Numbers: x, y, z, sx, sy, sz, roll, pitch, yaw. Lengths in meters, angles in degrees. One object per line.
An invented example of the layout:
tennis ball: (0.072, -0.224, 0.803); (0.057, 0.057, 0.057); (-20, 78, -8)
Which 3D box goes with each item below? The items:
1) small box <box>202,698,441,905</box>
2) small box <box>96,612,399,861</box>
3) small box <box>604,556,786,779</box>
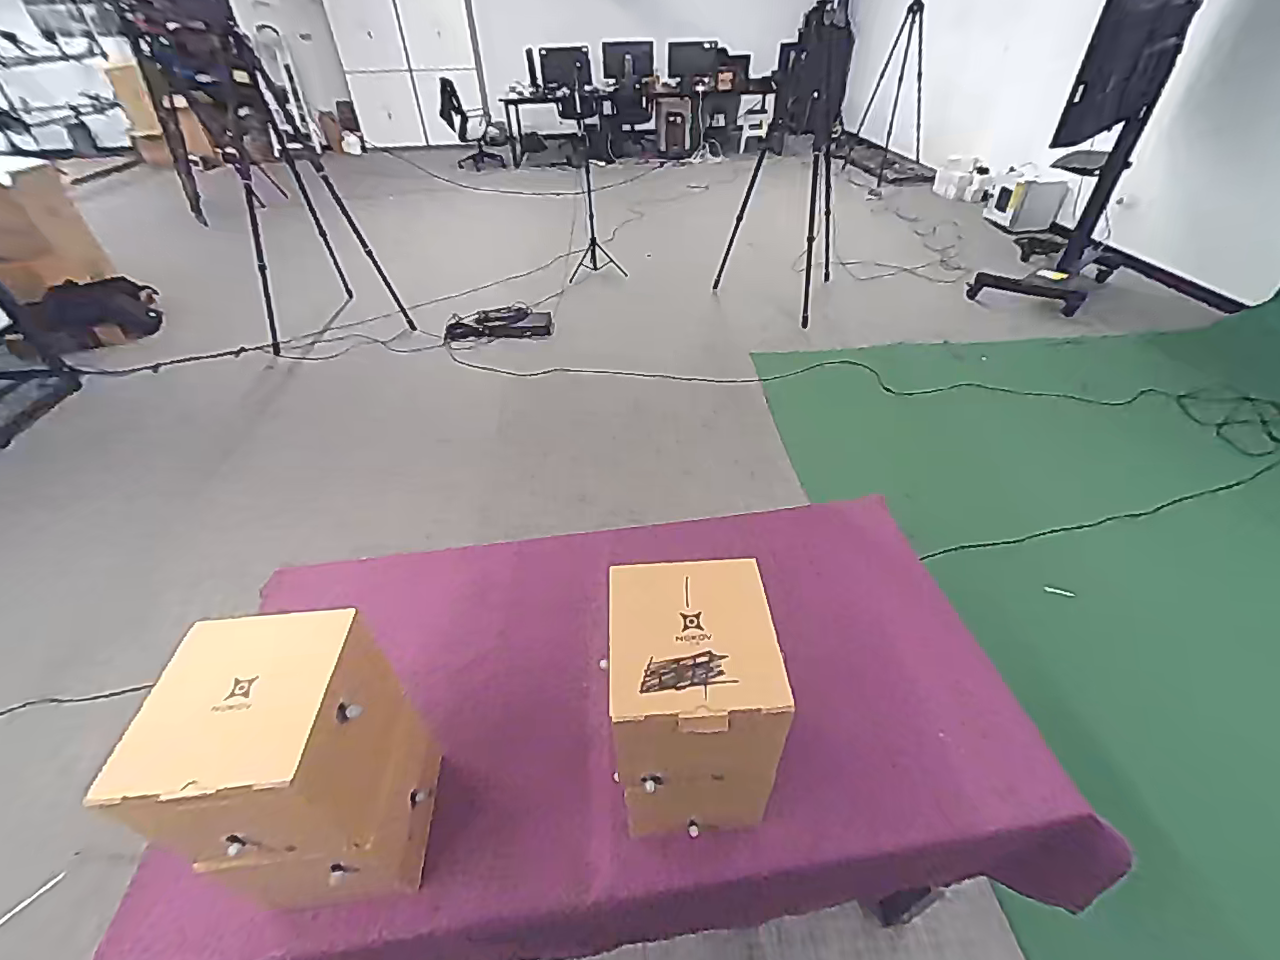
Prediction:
small box: (-0.359, 0.391, 0.658); (0.179, 0.176, 0.168); (-5, 40, -3)
small box: (-0.369, 0.262, 0.559); (0.168, 0.176, 0.179); (-5, 42, -2)
small box: (0.052, 0.208, 0.591); (0.168, 0.176, 0.179); (-4, 40, 0)
